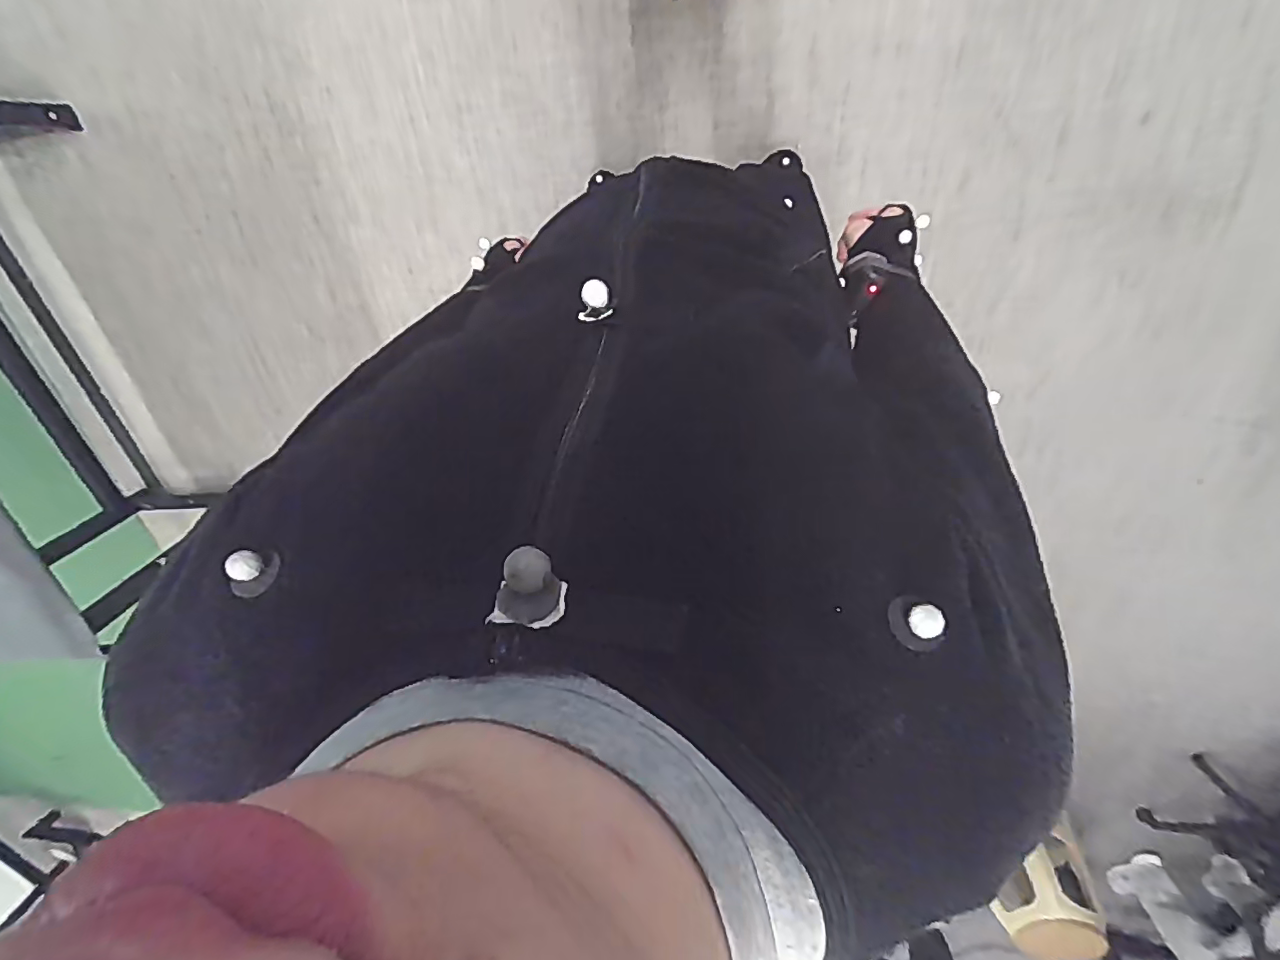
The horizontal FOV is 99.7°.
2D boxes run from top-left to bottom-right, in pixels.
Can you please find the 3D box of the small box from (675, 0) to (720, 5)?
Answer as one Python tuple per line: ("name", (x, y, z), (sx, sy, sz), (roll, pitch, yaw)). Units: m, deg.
("small box", (0.088, -1.038, 1.020), (0.168, 0.176, 0.179), (10, 122, 4))
